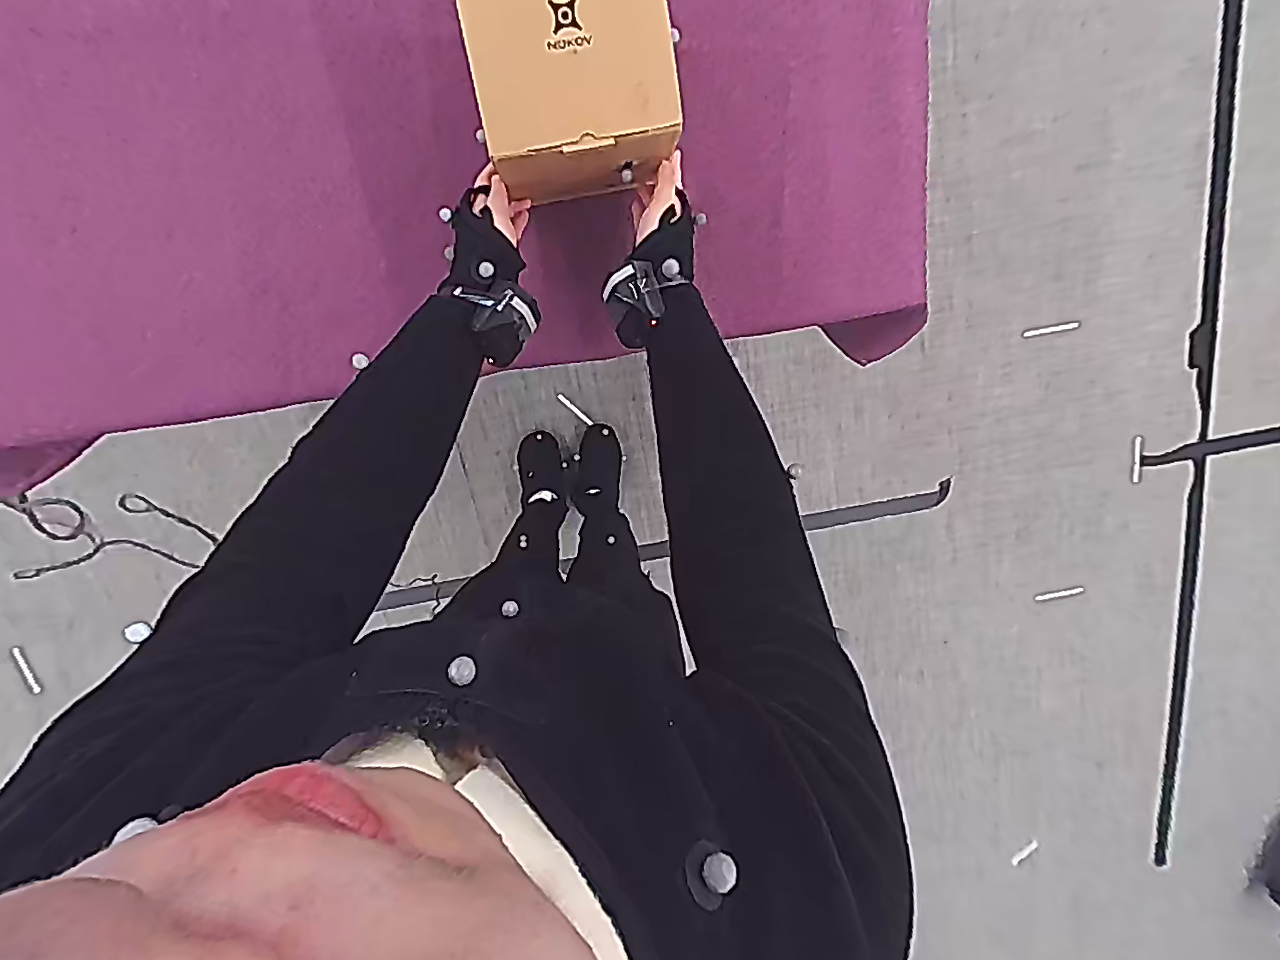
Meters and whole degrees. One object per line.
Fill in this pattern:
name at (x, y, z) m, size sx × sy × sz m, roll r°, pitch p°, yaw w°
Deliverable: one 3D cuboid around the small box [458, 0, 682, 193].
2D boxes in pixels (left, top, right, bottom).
small box at (-0.062, -0.383, 0.502) m, size 0.168 × 0.176 × 0.179 m, roll -11°, pitch 105°, yaw -2°
